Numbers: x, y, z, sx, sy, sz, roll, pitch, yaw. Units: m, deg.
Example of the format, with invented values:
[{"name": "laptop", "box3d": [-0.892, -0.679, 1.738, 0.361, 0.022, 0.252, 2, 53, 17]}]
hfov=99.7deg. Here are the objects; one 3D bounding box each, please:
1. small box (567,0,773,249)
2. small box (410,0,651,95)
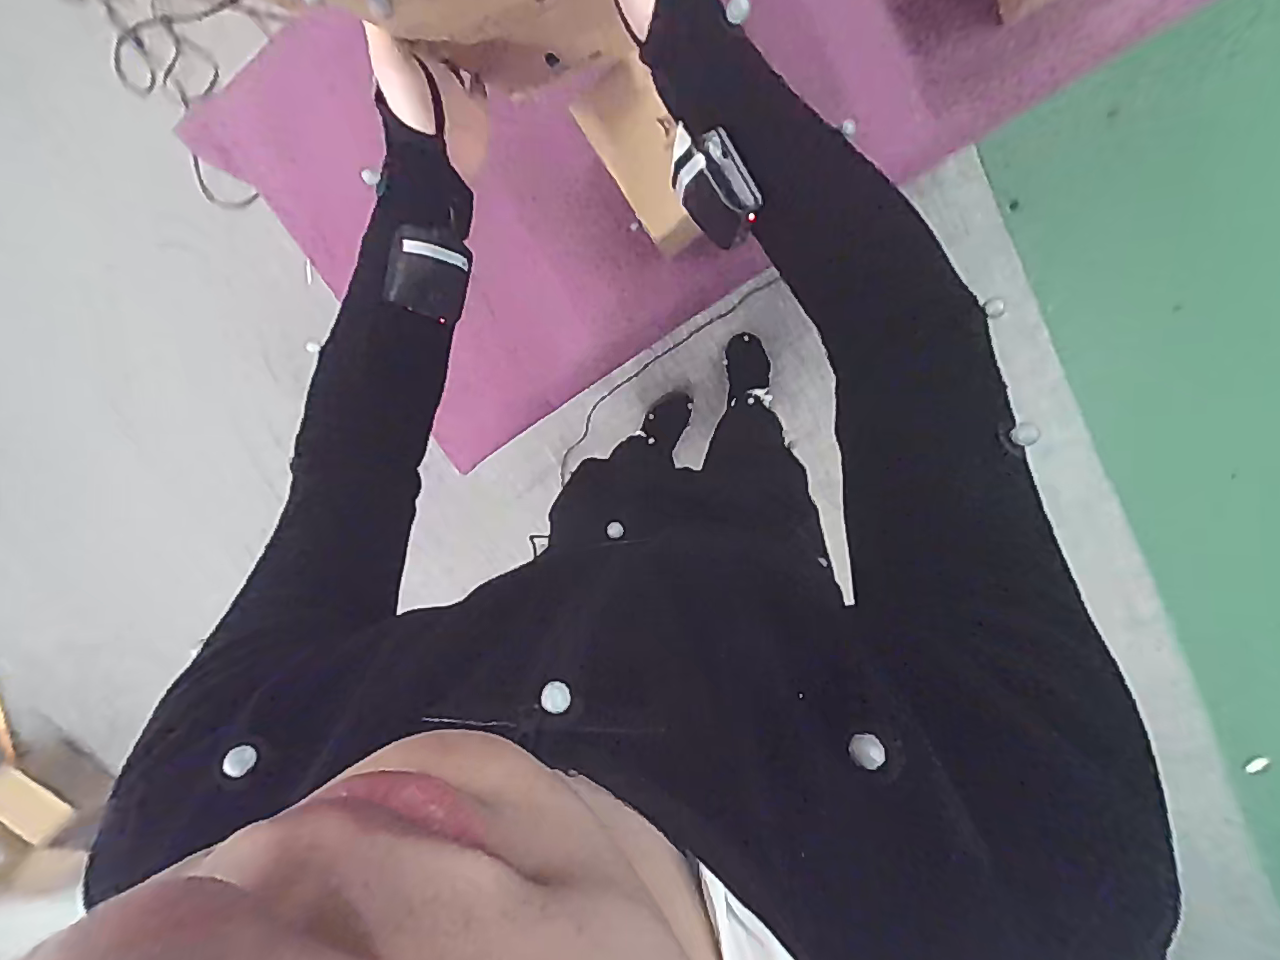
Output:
[{"name": "small box", "box3d": [0.043, -0.406, 0.662, 0.168, 0.176, 0.179, -33, 98, 15]}, {"name": "small box", "box3d": [-0.097, -0.458, 0.445, 0.168, 0.176, 0.179, -10, 113, 15]}]
